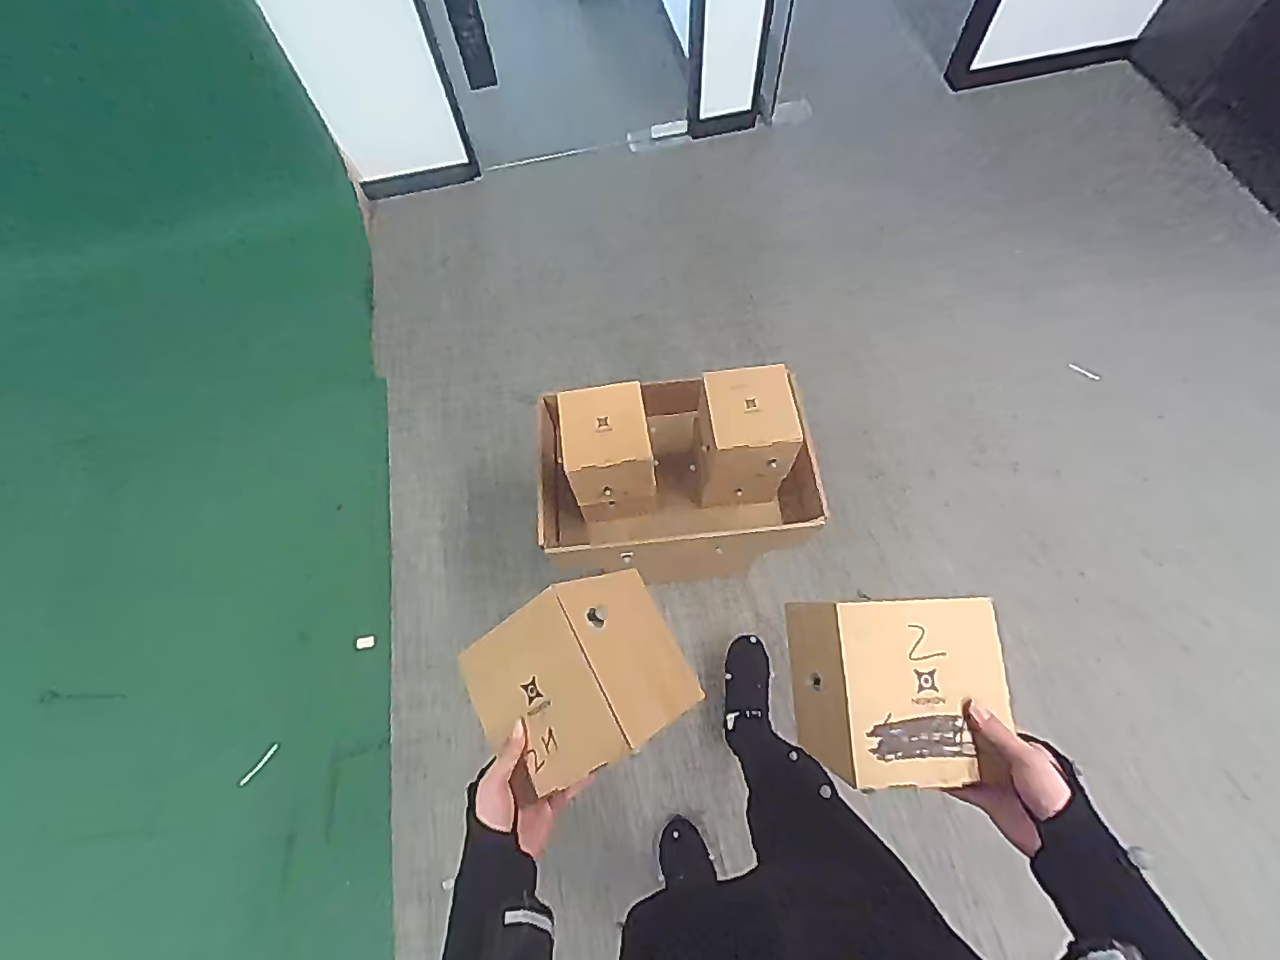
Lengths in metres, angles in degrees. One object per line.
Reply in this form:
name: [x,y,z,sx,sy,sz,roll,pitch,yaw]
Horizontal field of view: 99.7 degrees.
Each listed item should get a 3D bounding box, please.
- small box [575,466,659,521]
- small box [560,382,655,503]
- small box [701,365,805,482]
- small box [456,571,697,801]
small box: [-0.054,-0.015,1.241,0.179,0.176,0.168,-8,65,0]
small box: [-0.064,-0.071,1.090,0.168,0.176,0.179,-8,65,-2]
small box: [0.218,-0.106,1.089,0.168,0.176,0.179,-5,64,-1]
small box: [-0.066,0.215,0.610,0.168,0.176,0.179,-37,70,23]
